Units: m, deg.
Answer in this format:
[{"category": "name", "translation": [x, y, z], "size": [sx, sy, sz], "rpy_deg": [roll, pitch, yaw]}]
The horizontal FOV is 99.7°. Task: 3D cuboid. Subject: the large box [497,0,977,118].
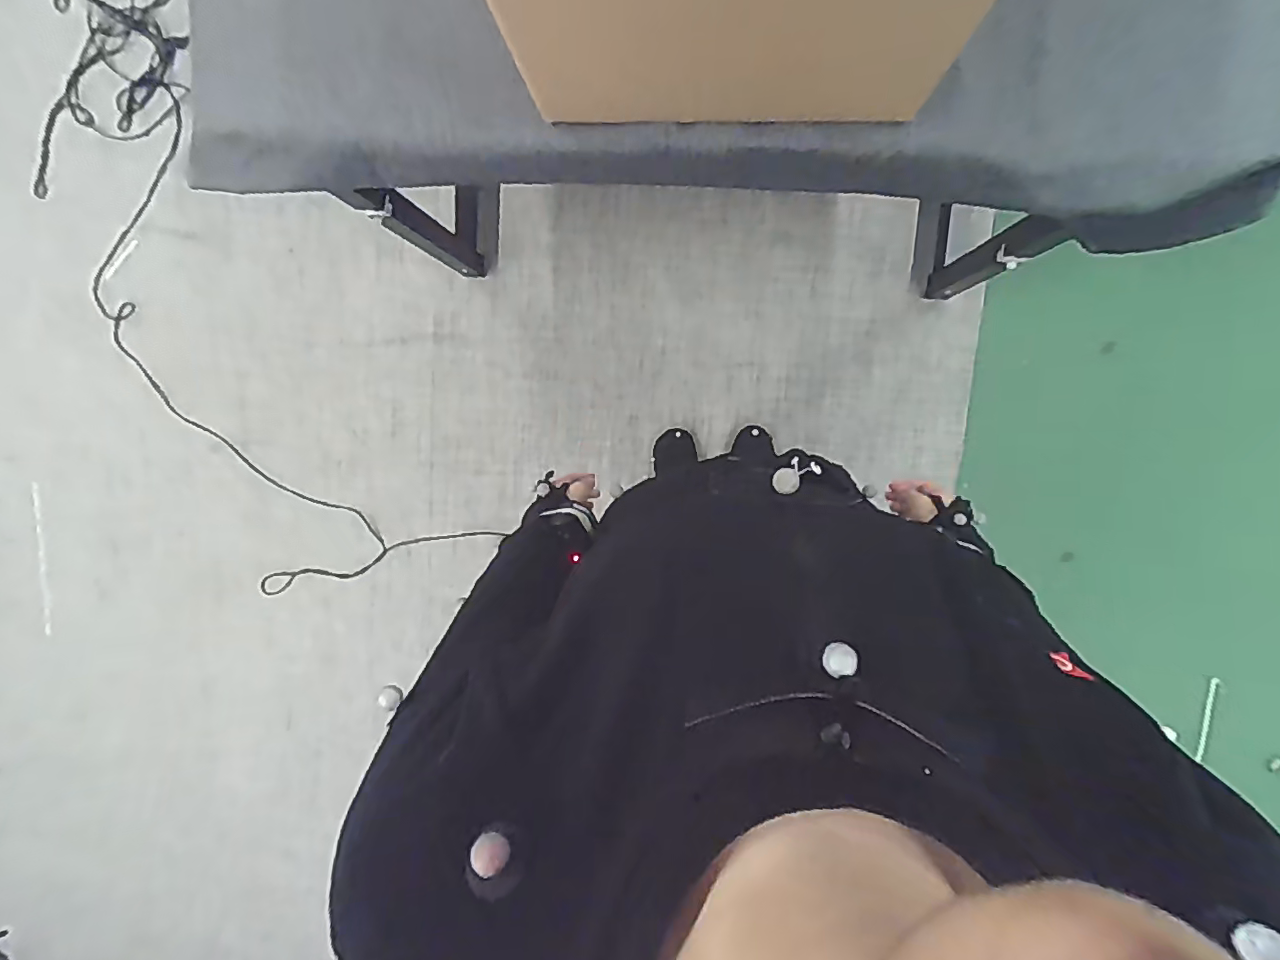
[{"category": "large box", "translation": [0.080, -0.540, 0.433], "size": [0.408, 0.320, 0.320], "rpy_deg": [2, 95, 4]}]
